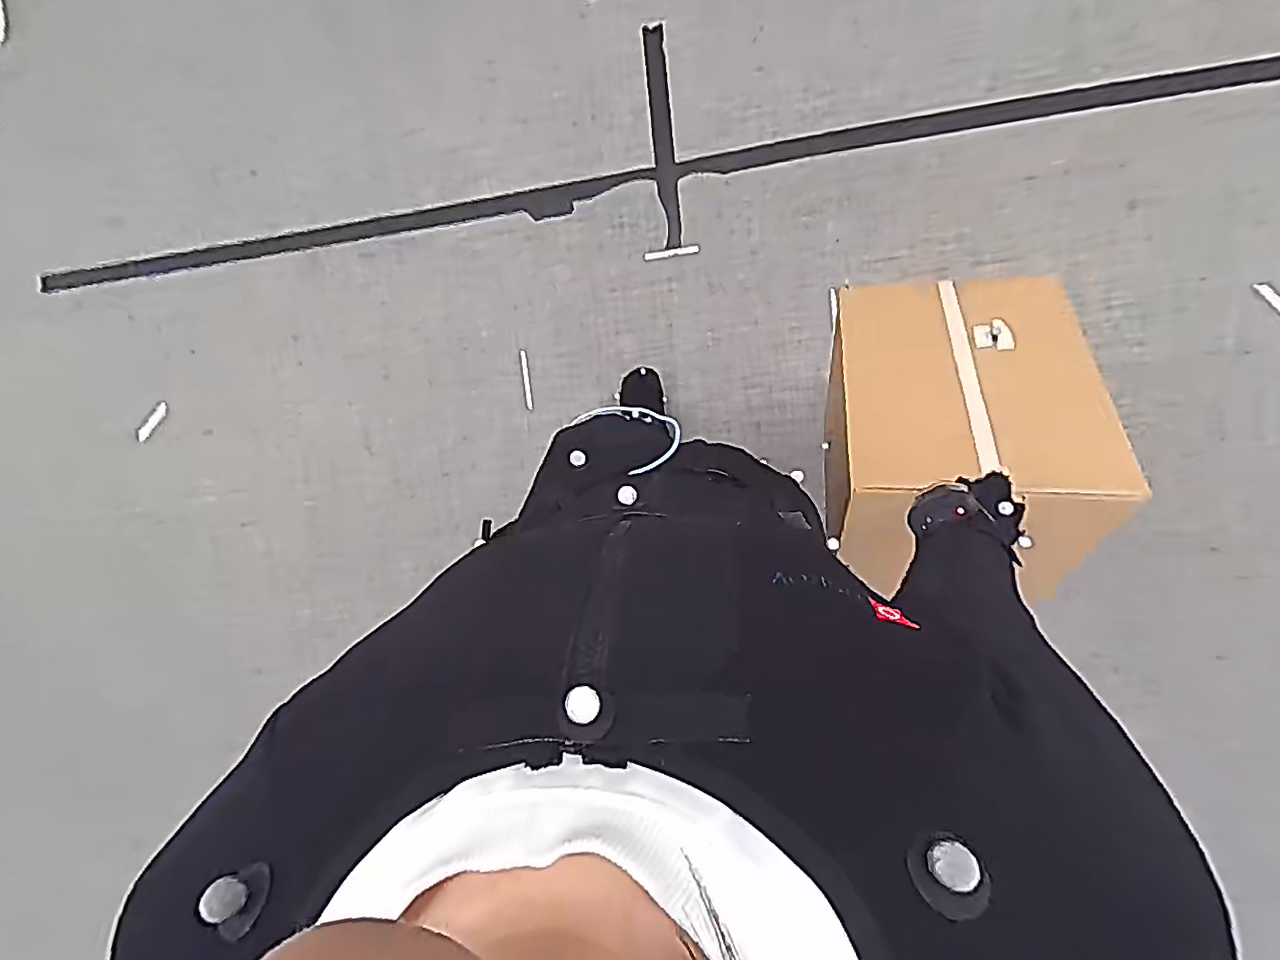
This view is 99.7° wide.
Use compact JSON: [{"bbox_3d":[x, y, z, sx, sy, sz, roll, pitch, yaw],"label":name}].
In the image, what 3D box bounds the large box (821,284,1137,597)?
[{"bbox_3d":[0.475,-0.060,0.878,0.320,0.320,0.408,2,54,12],"label":"large box"}]
